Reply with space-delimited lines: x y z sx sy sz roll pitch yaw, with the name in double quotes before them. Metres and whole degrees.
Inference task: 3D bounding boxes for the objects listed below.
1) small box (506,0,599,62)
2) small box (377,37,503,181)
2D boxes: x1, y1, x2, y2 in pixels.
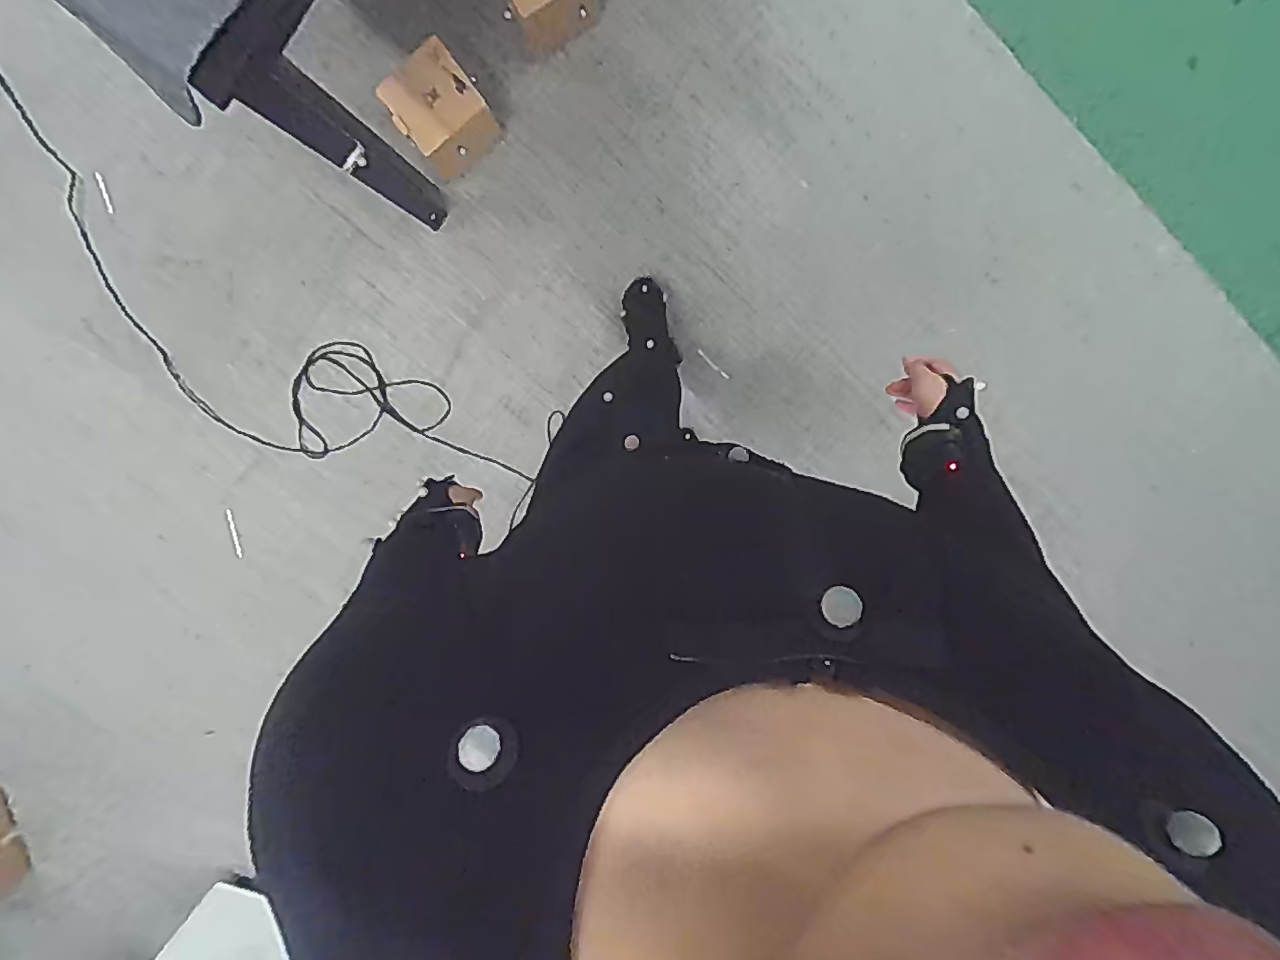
"small box" -0.198 -1.062 1.160 0.179 0.176 0.168 -28 100 6
"small box" -0.436 -0.814 1.211 0.179 0.176 0.168 -37 100 7
